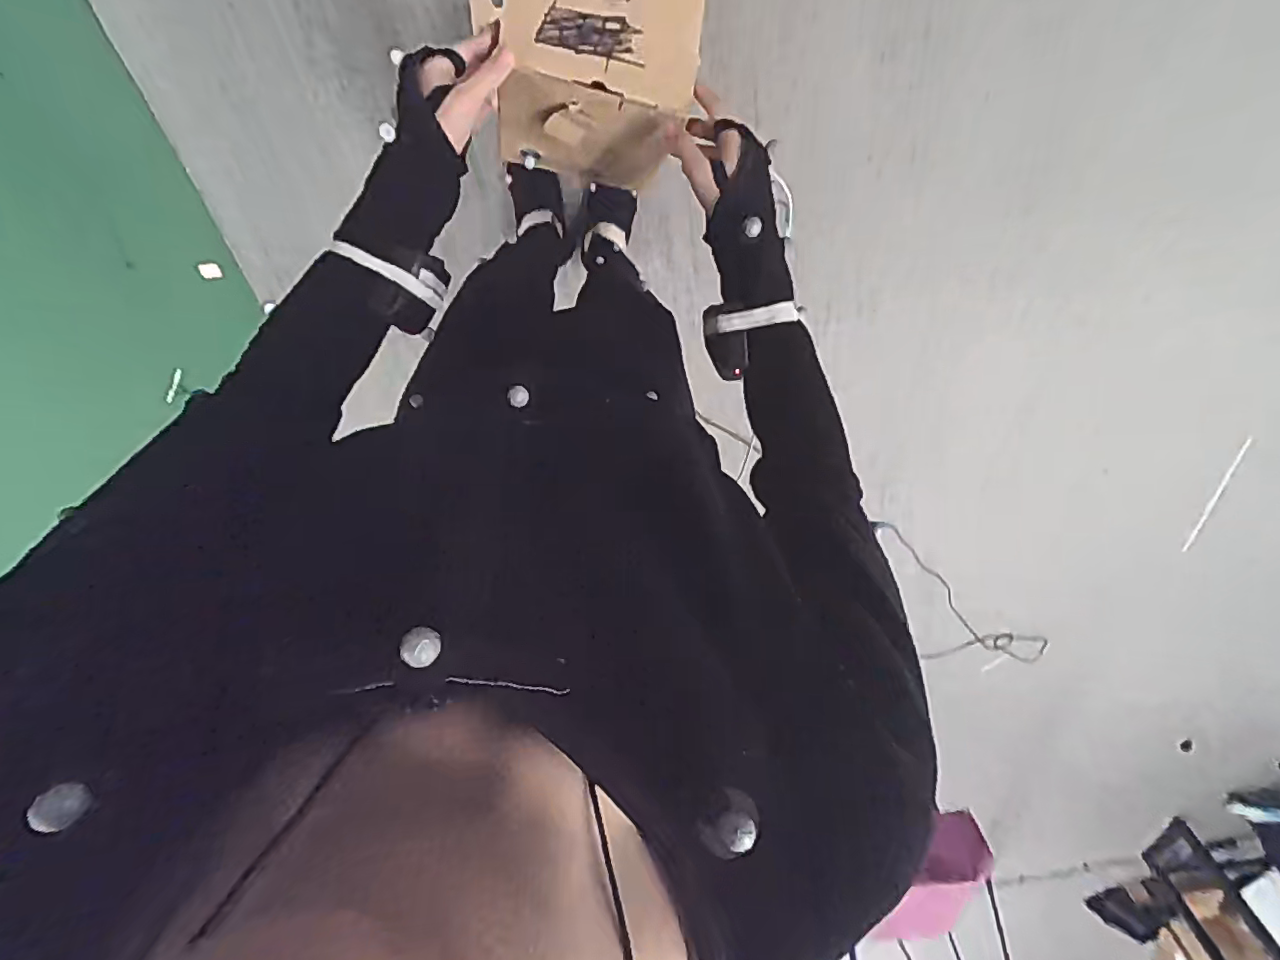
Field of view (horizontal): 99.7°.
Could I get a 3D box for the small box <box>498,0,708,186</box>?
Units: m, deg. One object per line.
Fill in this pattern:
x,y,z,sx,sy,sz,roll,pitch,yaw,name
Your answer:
-0.039,-0.411,0.514,0.168,0.176,0.179,6,96,-14,small box
